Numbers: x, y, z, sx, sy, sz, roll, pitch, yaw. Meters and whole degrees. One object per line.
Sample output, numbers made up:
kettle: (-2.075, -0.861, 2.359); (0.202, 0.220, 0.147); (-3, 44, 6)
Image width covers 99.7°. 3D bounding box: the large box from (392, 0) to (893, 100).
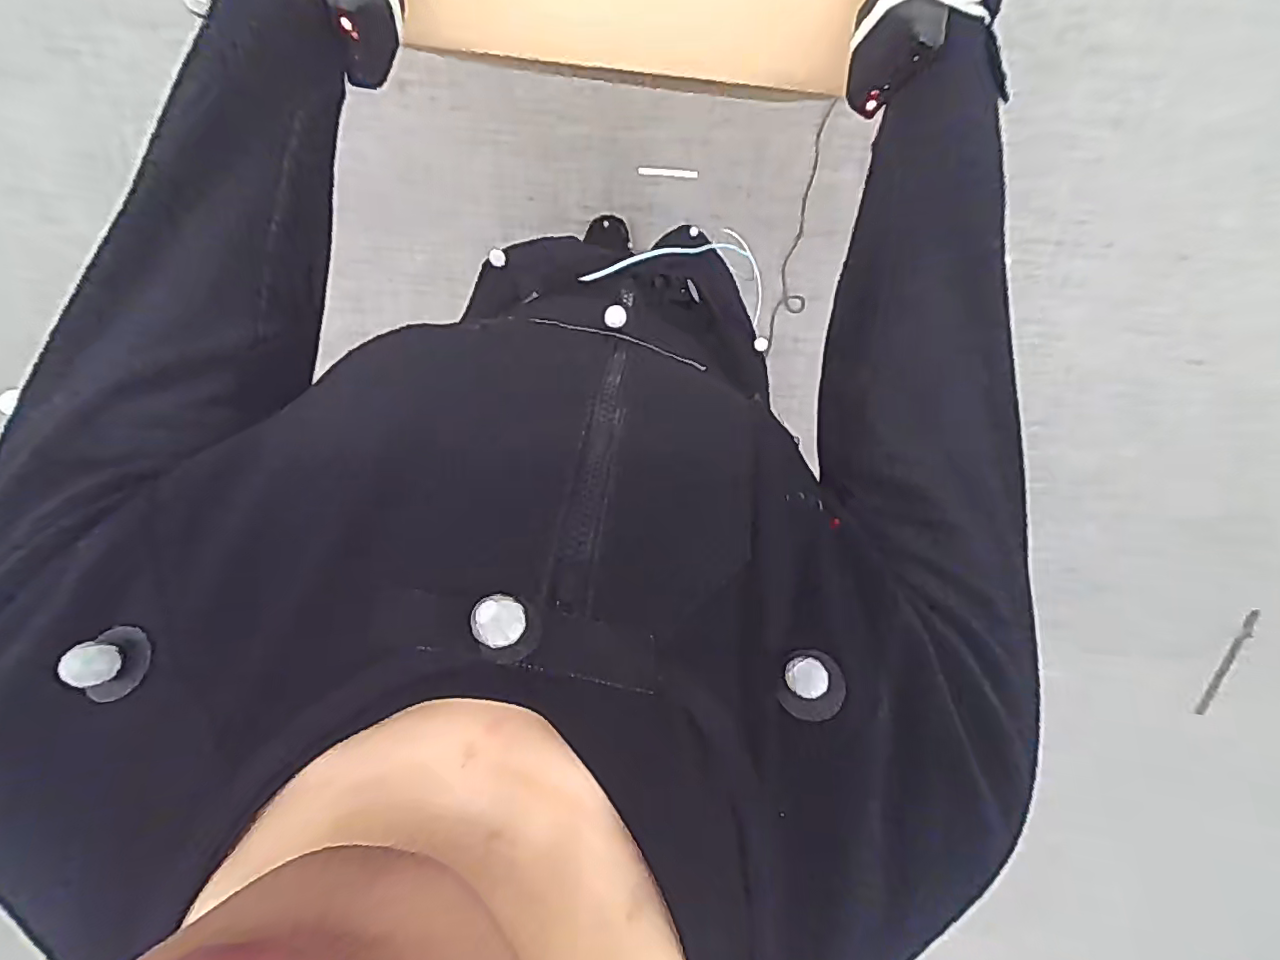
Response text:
large box: (0.008, -0.552, 0.488); (0.408, 0.320, 0.320); (4, 125, -4)
